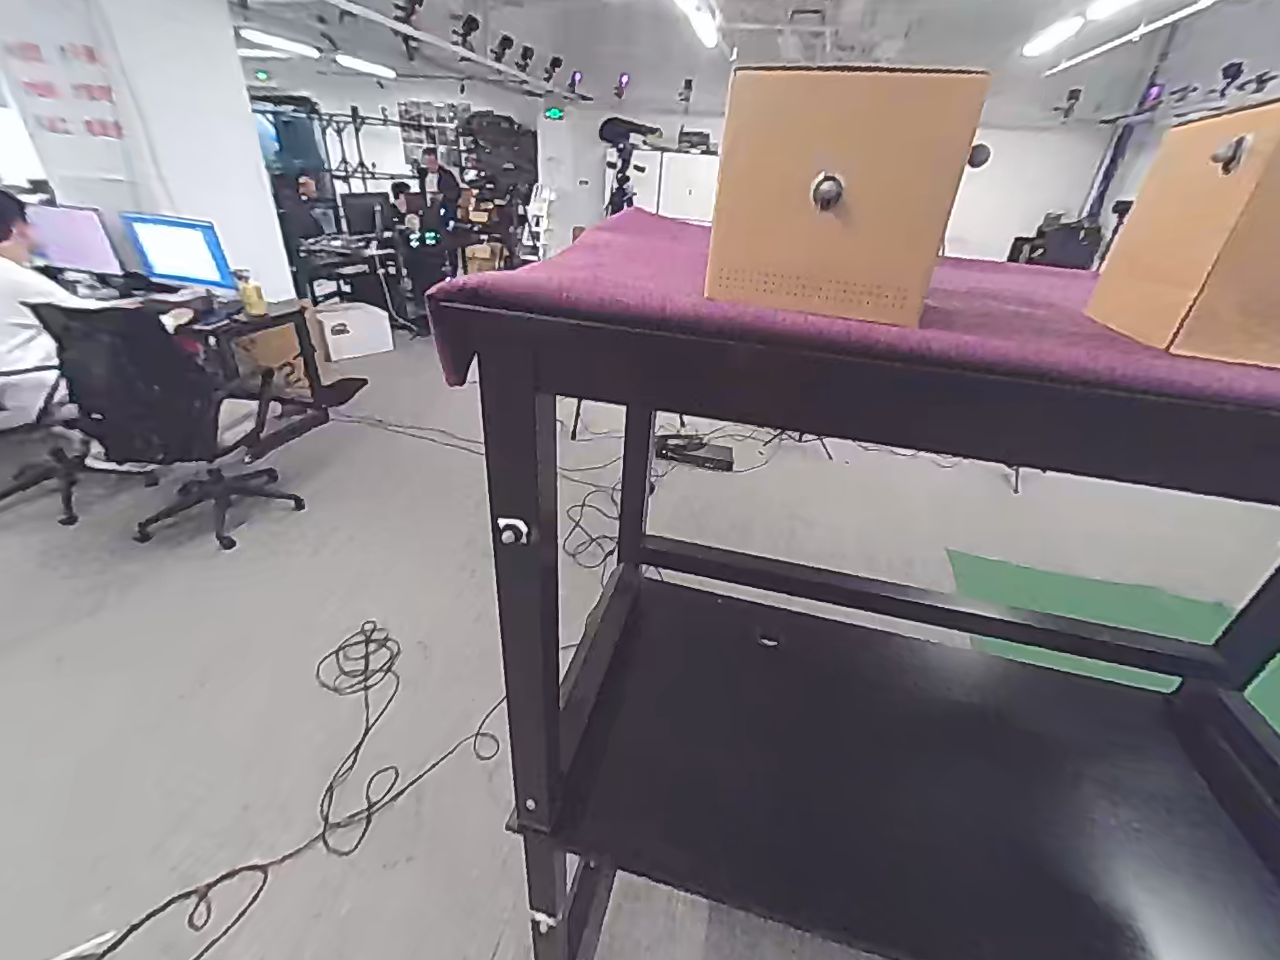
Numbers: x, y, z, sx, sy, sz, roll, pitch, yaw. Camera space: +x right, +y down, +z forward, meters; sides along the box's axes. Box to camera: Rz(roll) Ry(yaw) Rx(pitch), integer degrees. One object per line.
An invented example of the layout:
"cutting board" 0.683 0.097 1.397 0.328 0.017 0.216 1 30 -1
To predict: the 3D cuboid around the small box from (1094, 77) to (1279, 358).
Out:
"small box" 0.502 -0.193 0.415 0.168 0.176 0.179 12 30 15
